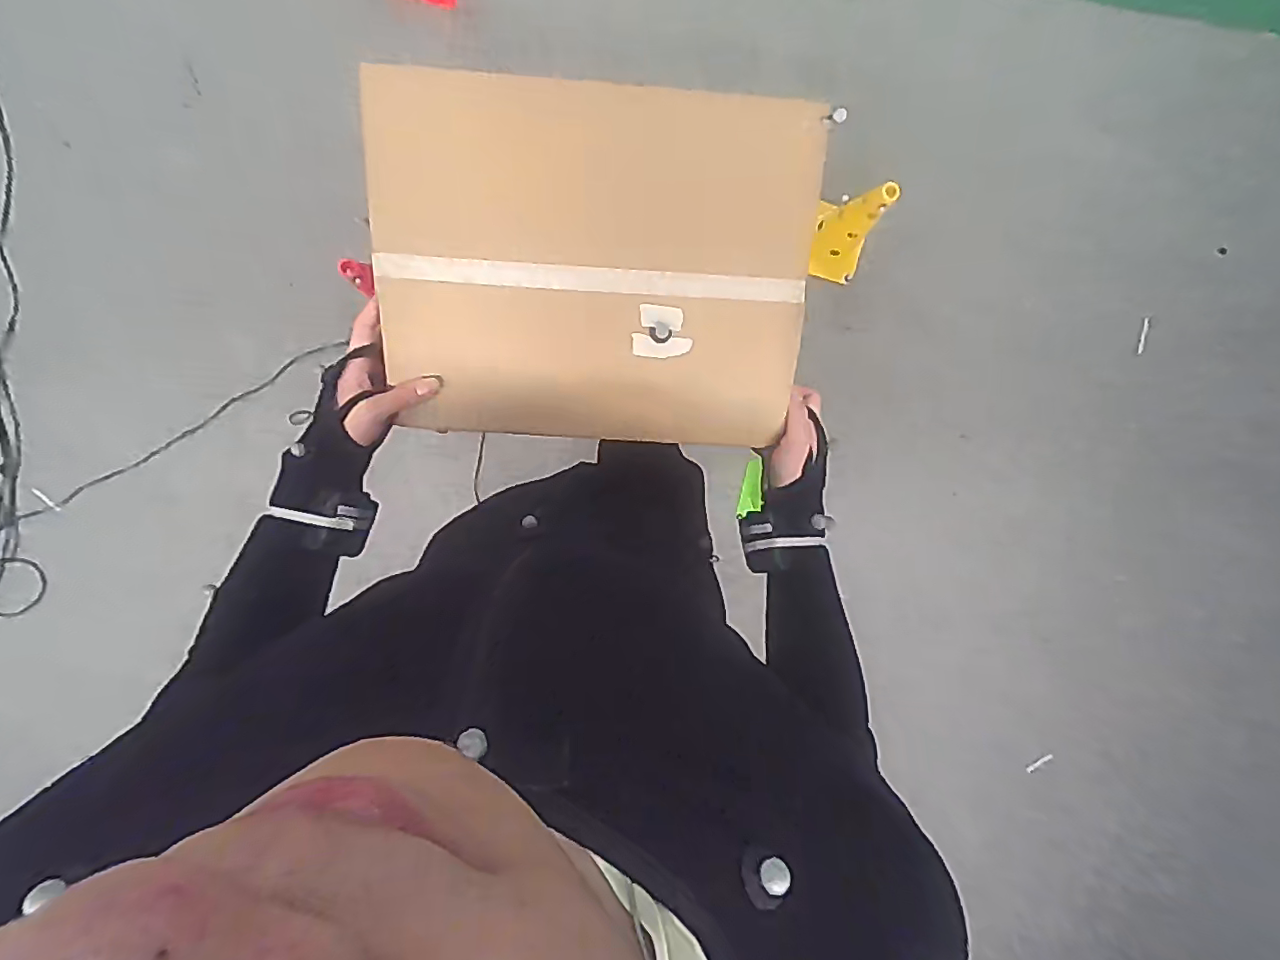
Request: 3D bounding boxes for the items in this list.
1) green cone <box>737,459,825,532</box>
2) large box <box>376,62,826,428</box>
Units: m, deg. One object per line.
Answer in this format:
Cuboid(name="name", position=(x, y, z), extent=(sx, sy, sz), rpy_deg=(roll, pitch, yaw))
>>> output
Cuboid(name="green cone", position=(0.416, 0.067, 1.468), extent=(0.200, 0.368, 0.202), rpy_deg=(11, 96, -5))
Cuboid(name="large box", position=(-0.044, -0.252, 0.660), extent=(0.408, 0.320, 0.320), rpy_deg=(3, 109, -3))
